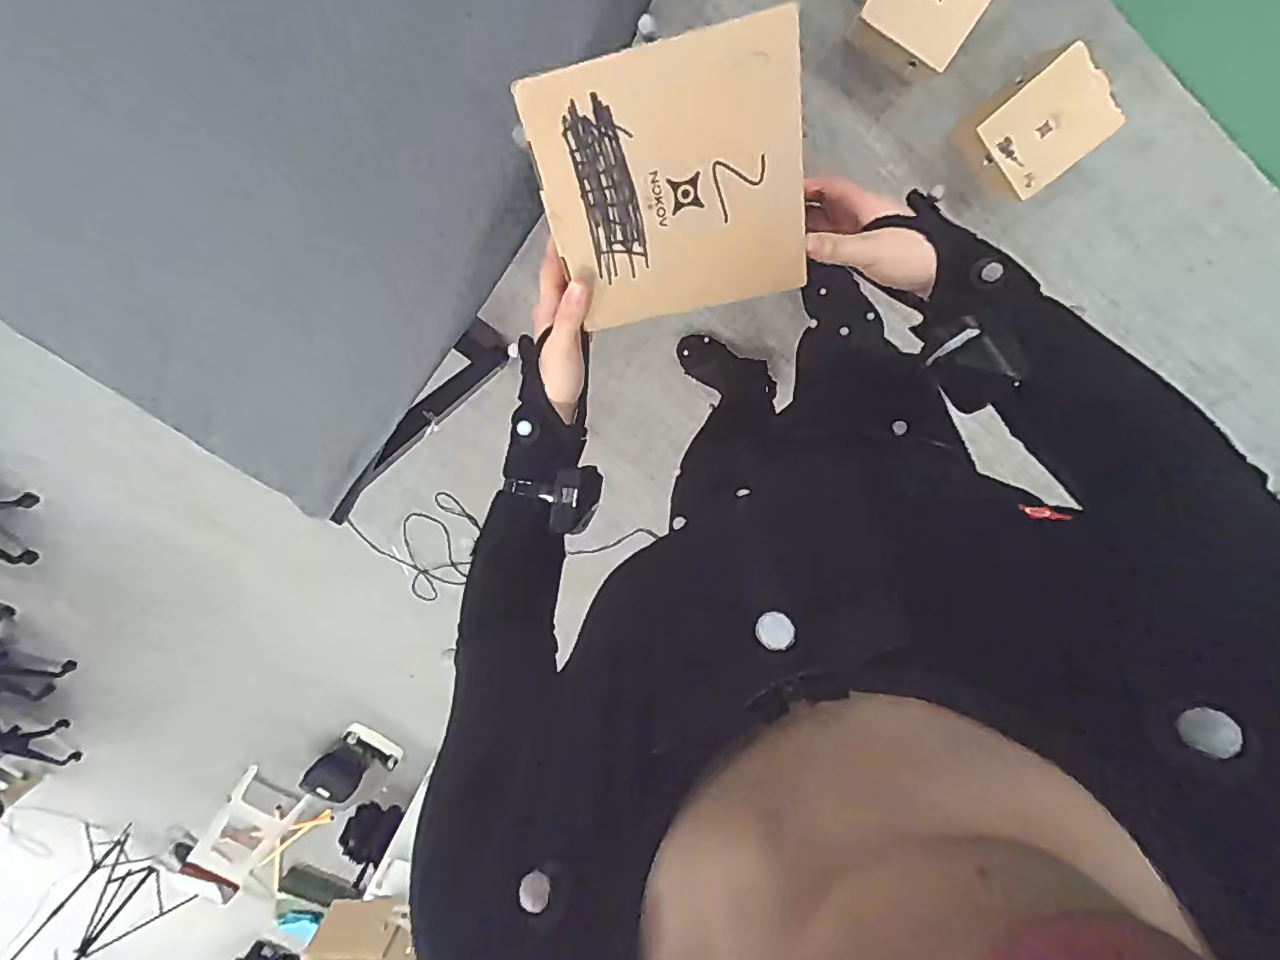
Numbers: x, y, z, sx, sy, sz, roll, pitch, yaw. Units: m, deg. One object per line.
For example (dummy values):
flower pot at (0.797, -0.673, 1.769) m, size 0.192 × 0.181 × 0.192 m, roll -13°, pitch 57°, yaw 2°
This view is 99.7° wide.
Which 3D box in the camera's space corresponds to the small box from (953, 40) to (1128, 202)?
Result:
small box at (0.721, -0.650, 0.994) m, size 0.179 × 0.176 × 0.168 m, roll -38°, pitch 108°, yaw 28°

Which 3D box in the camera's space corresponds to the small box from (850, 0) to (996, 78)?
small box at (0.494, -0.829, 0.931) m, size 0.179 × 0.176 × 0.168 m, roll 29°, pitch 121°, yaw -7°
